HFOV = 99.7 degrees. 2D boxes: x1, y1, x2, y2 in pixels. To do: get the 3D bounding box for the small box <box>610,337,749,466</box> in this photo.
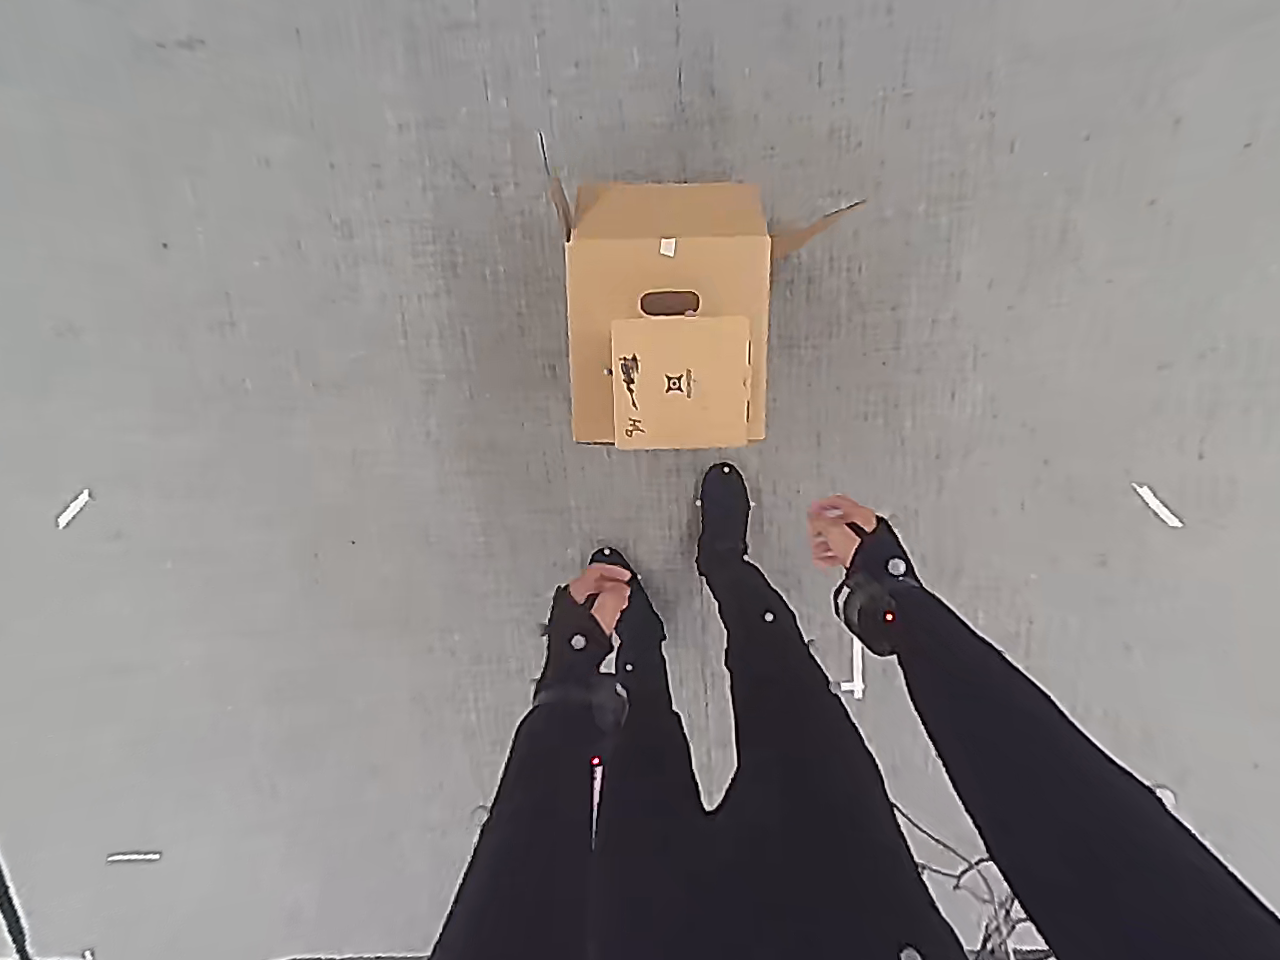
[{"bbox_3d":[0.049,-0.117,0.768,0.179,0.176,0.168,-1,103,1],"label":"small box"}]
